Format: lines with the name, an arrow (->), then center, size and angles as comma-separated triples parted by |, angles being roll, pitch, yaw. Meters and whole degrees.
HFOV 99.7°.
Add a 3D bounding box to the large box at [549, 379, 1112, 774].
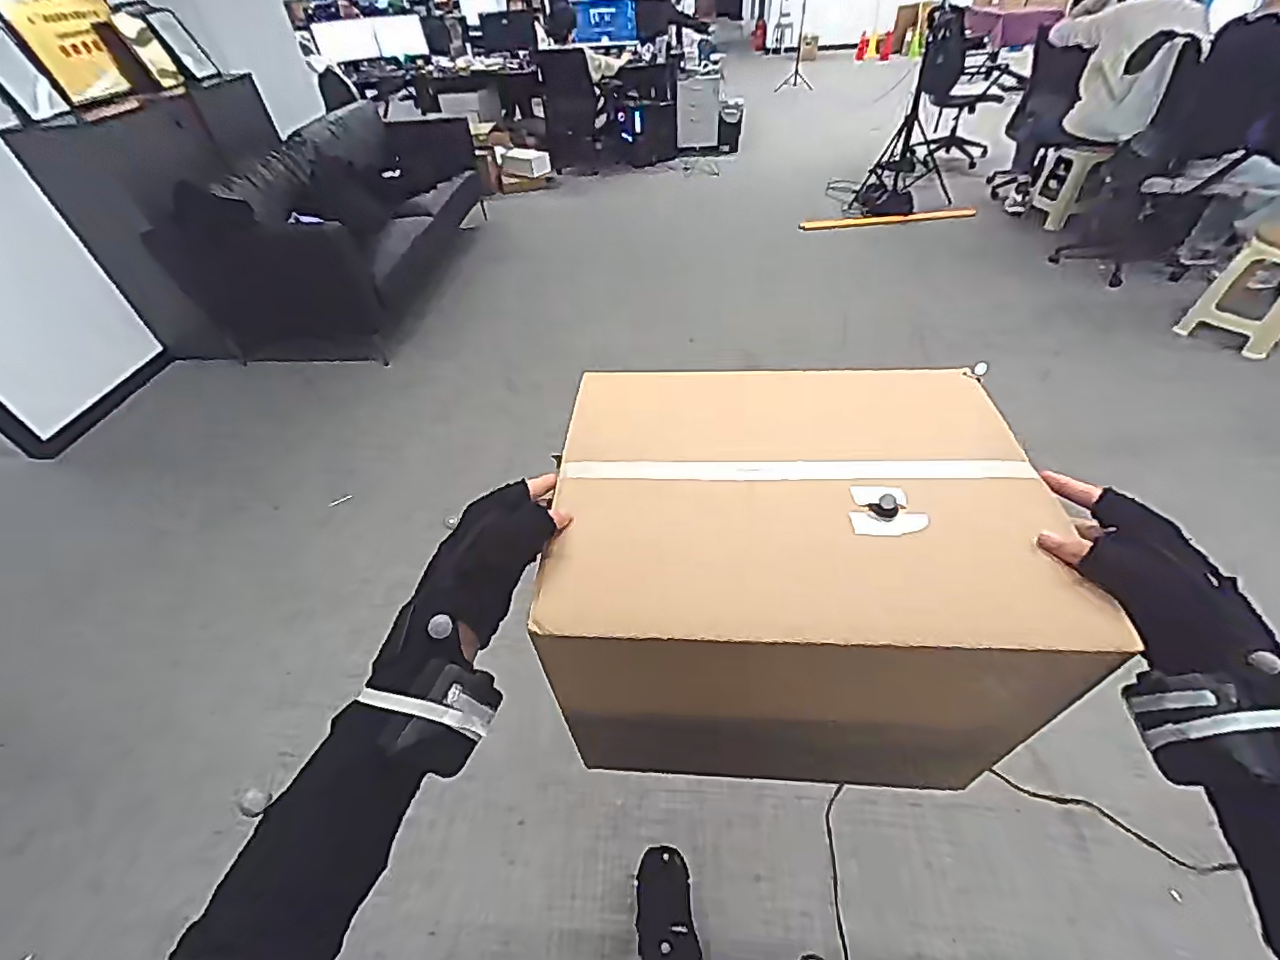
large box -> 0.140, 0.105, 0.590 | 0.408, 0.320, 0.320 | 0, 46, 4
